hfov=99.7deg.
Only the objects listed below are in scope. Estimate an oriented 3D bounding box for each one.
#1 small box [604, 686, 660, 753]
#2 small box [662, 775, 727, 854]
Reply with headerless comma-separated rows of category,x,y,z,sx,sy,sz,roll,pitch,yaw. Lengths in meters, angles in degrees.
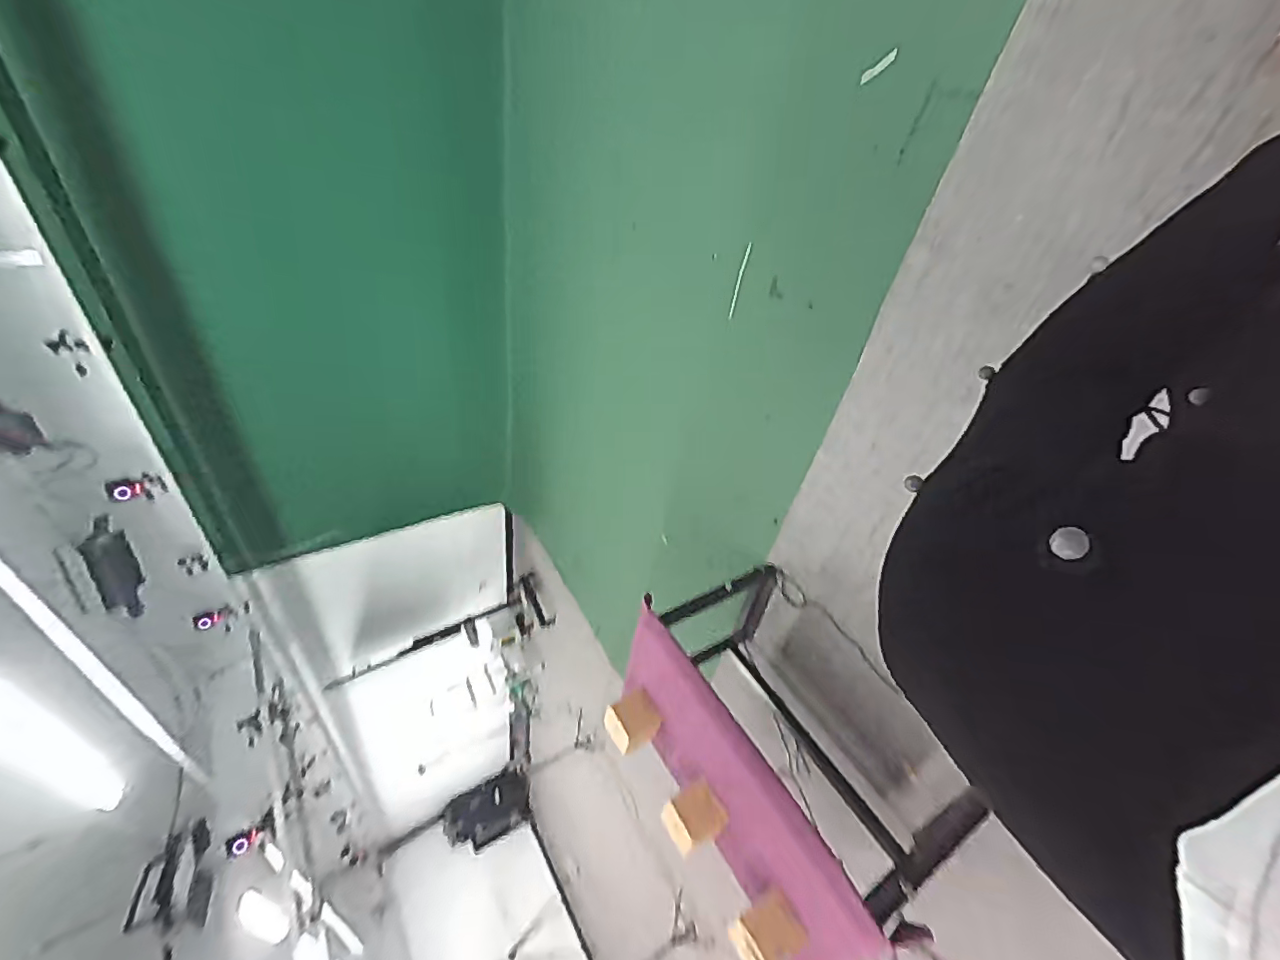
small box,-0.033,1.020,2.306,0.168,0.176,0.179,47,141,33
small box,0.206,1.261,2.044,0.168,0.176,0.179,49,142,36
